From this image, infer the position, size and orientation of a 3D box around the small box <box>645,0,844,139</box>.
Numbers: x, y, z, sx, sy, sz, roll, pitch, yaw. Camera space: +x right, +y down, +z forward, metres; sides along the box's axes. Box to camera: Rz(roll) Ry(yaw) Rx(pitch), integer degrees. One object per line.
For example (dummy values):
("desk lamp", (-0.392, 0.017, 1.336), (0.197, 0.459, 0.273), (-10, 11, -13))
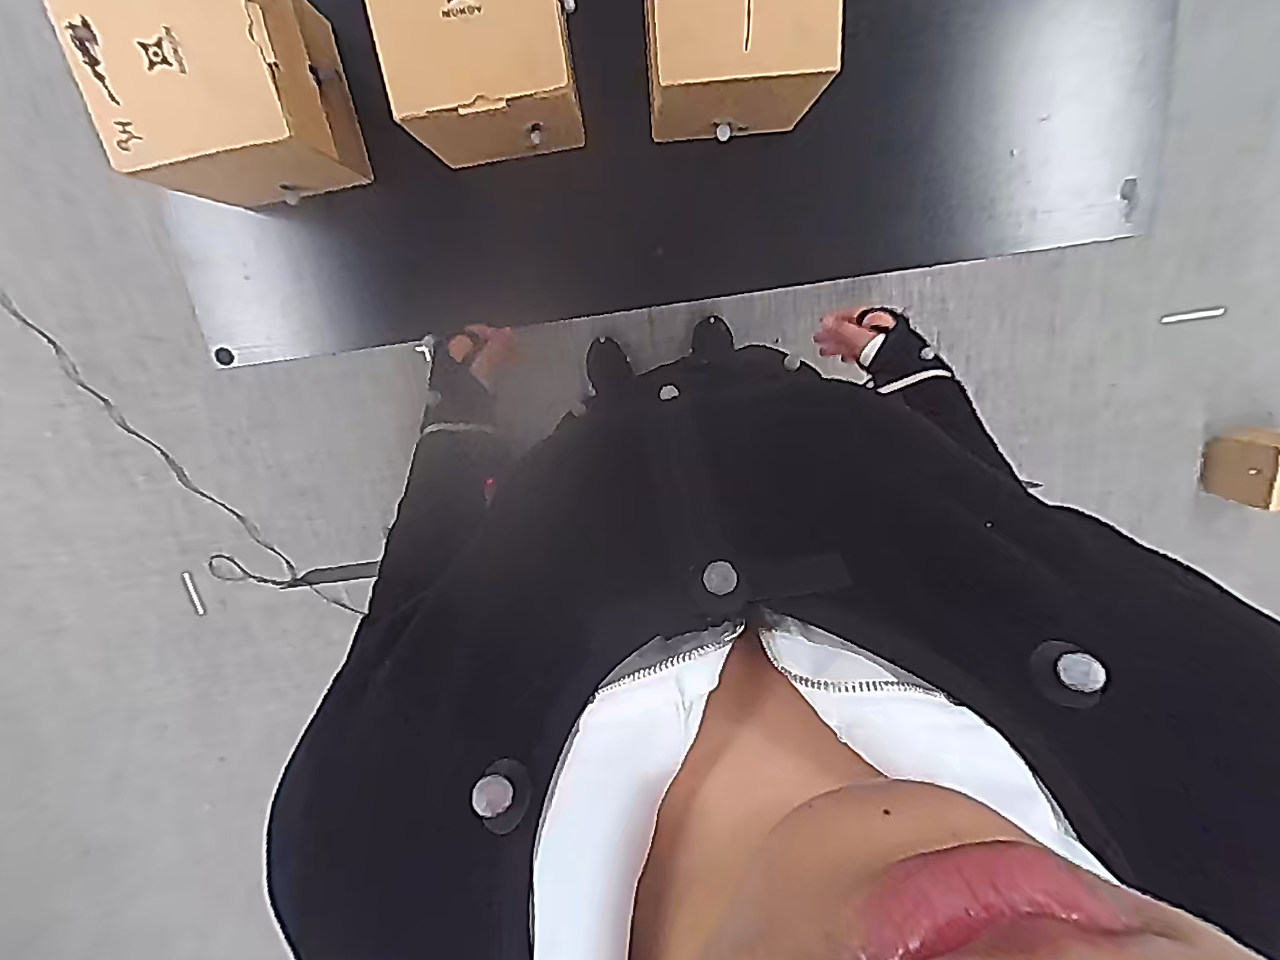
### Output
("small box", (0.092, -0.468, 0.538), (0.168, 0.176, 0.179), (-4, 107, 0))

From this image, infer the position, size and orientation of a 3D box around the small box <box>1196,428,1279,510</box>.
("small box", (1.660, -0.037, 1.449), (0.168, 0.176, 0.179), (-7, 107, 2))

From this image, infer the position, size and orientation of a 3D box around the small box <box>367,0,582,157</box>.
("small box", (-0.156, -0.447, 0.543), (0.168, 0.176, 0.179), (-9, 106, 1))

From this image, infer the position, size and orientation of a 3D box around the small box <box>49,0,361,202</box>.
("small box", (-0.414, -0.401, 0.552), (0.179, 0.176, 0.168), (-11, 106, 1))
